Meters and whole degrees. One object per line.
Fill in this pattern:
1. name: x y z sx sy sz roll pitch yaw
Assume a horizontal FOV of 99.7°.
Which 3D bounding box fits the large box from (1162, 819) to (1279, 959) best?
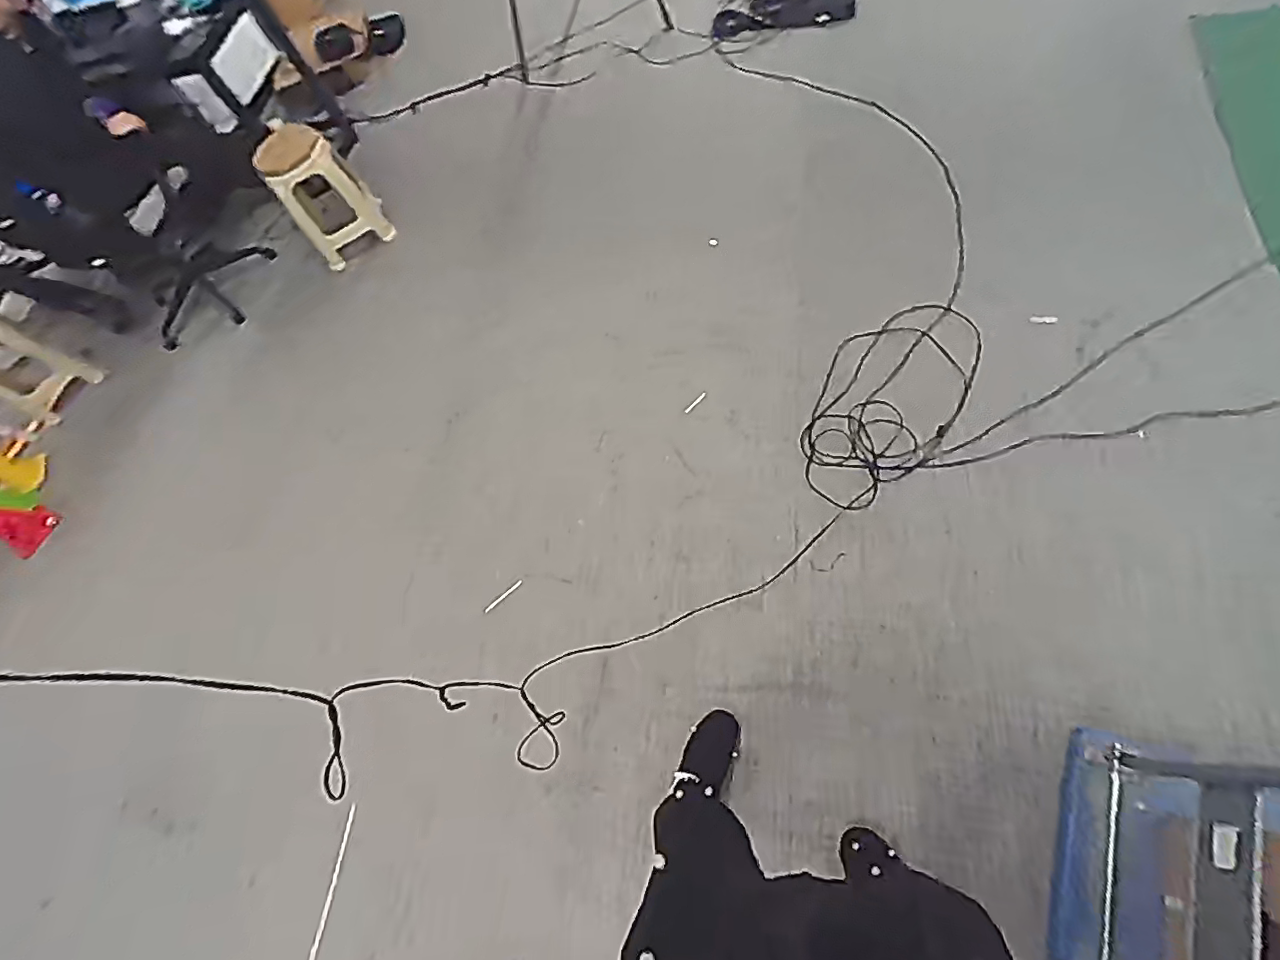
1. large box: 1.075 0.744 0.763 0.408 0.320 0.320 16 71 19
